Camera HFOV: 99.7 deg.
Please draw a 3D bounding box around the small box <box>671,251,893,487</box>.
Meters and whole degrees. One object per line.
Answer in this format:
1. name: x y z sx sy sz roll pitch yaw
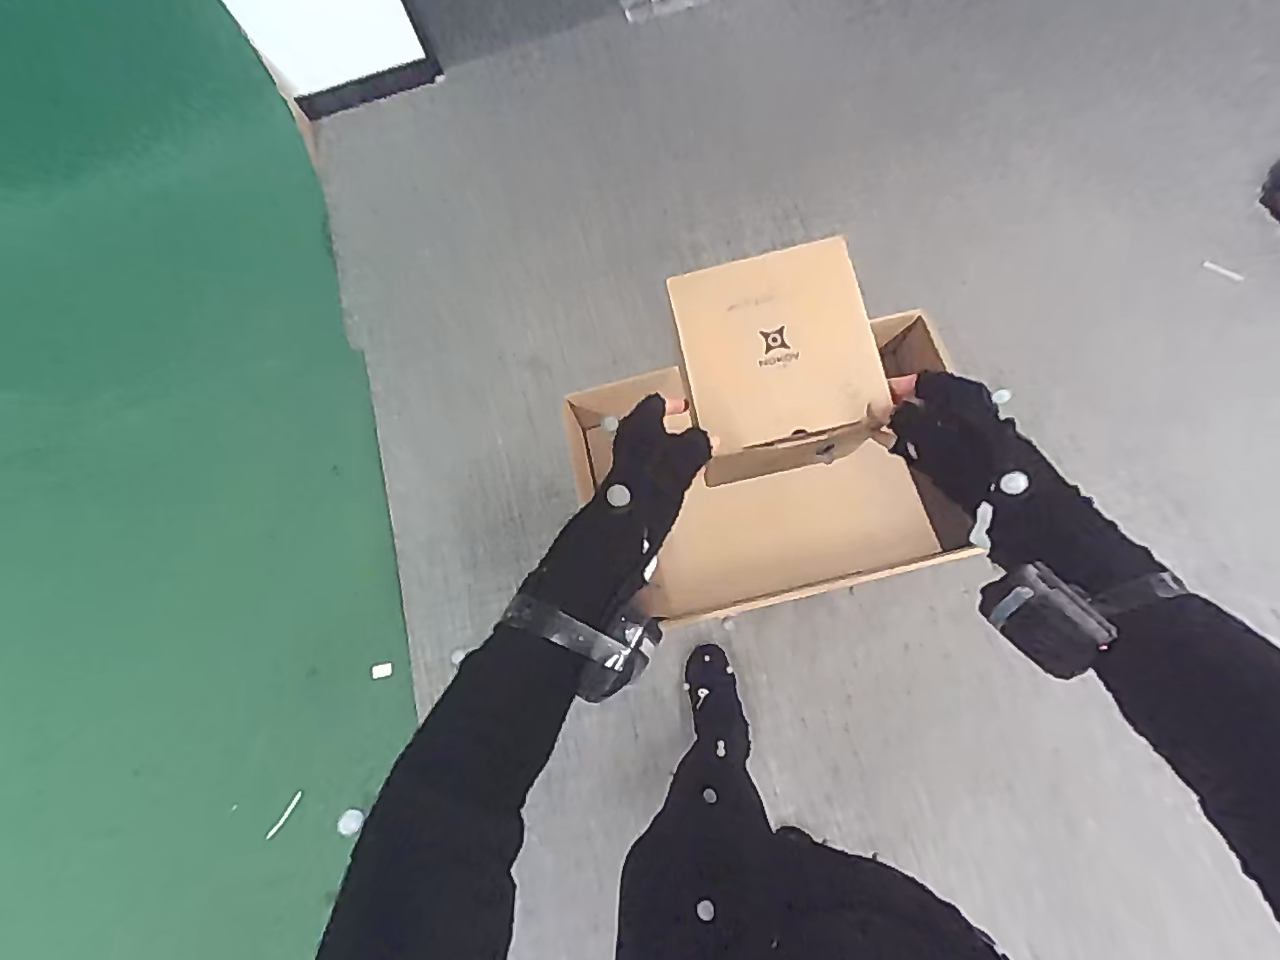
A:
1. small box: 0.133 -0.097 0.563 0.168 0.176 0.179 -13 77 4
